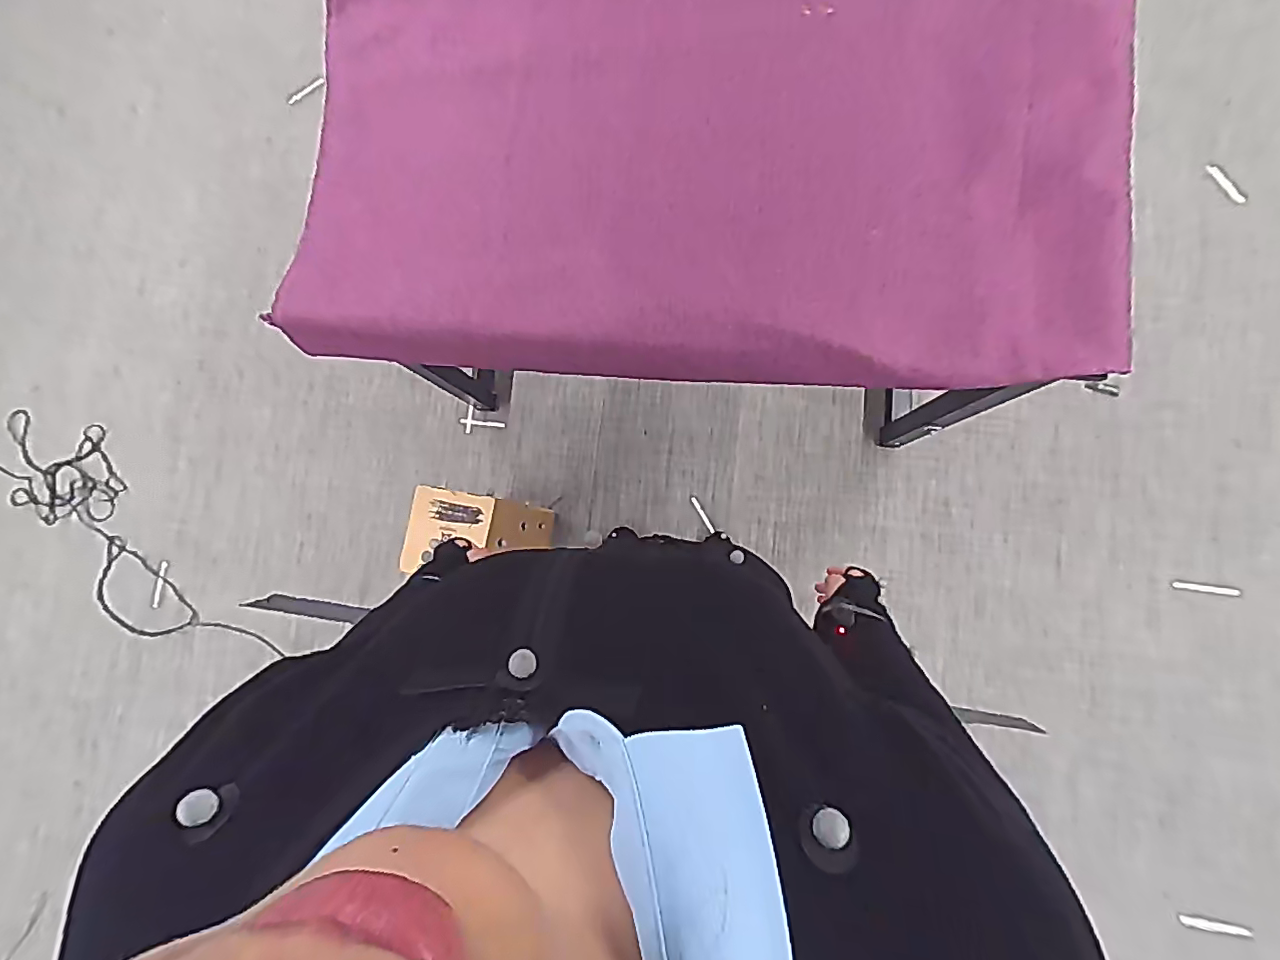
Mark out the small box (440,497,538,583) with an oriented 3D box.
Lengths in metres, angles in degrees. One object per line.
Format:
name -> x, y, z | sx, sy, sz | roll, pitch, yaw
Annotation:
small box -> -0.350, 0.142, 1.291 | 0.168, 0.176, 0.179 | 7, 85, 6

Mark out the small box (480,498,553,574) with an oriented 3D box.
small box -> -0.344, 0.154, 1.455 | 0.168, 0.176, 0.179 | 13, 85, 6
